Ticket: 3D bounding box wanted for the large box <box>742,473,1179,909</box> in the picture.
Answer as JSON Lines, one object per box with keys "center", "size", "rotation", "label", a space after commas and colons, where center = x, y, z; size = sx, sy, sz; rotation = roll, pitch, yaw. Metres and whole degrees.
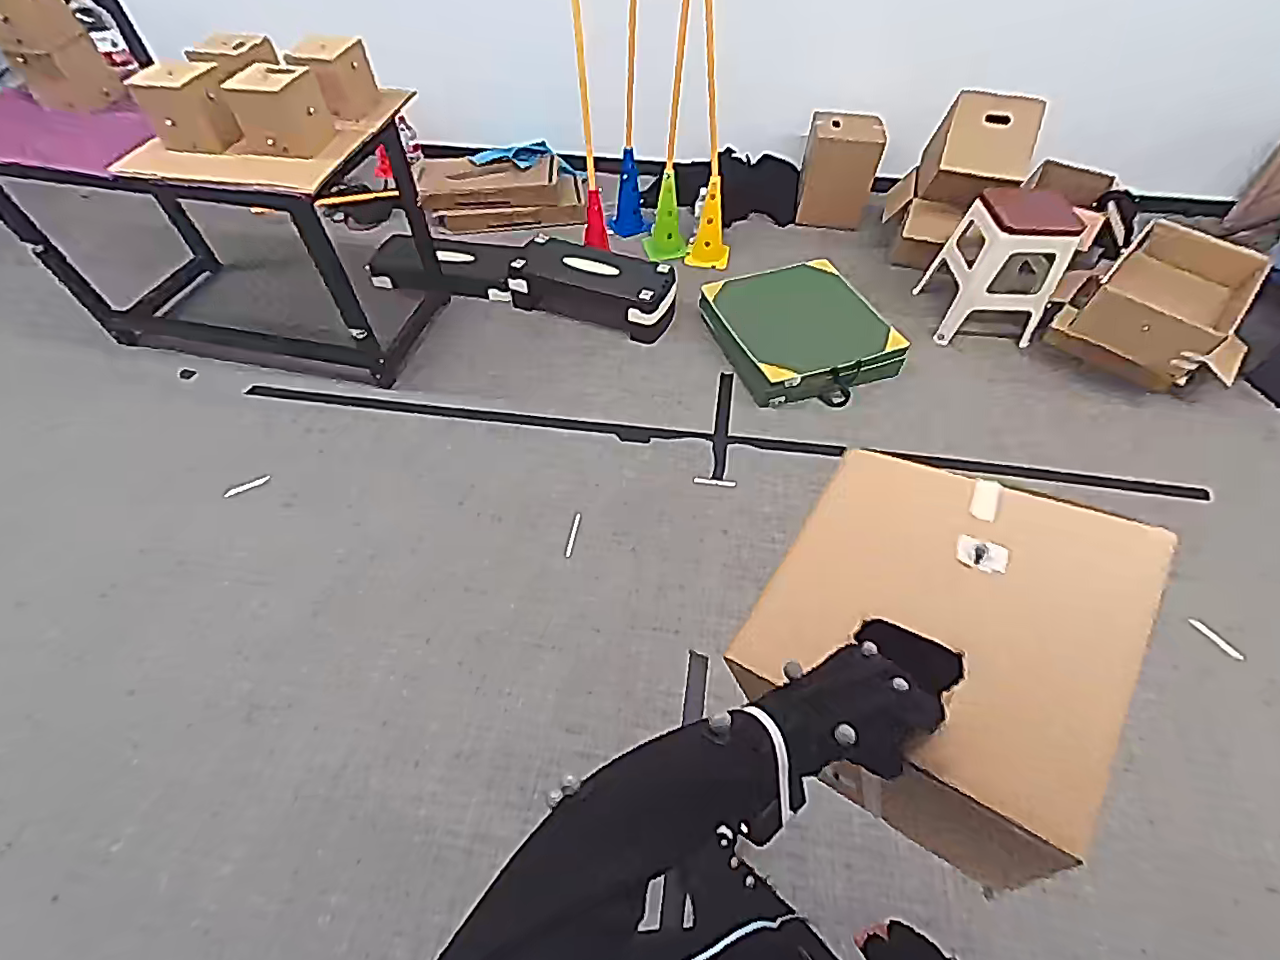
{"center": [0.377, 0.256, 0.675], "size": [0.320, 0.408, 0.320], "rotation": [23, 65, 39], "label": "large box"}
